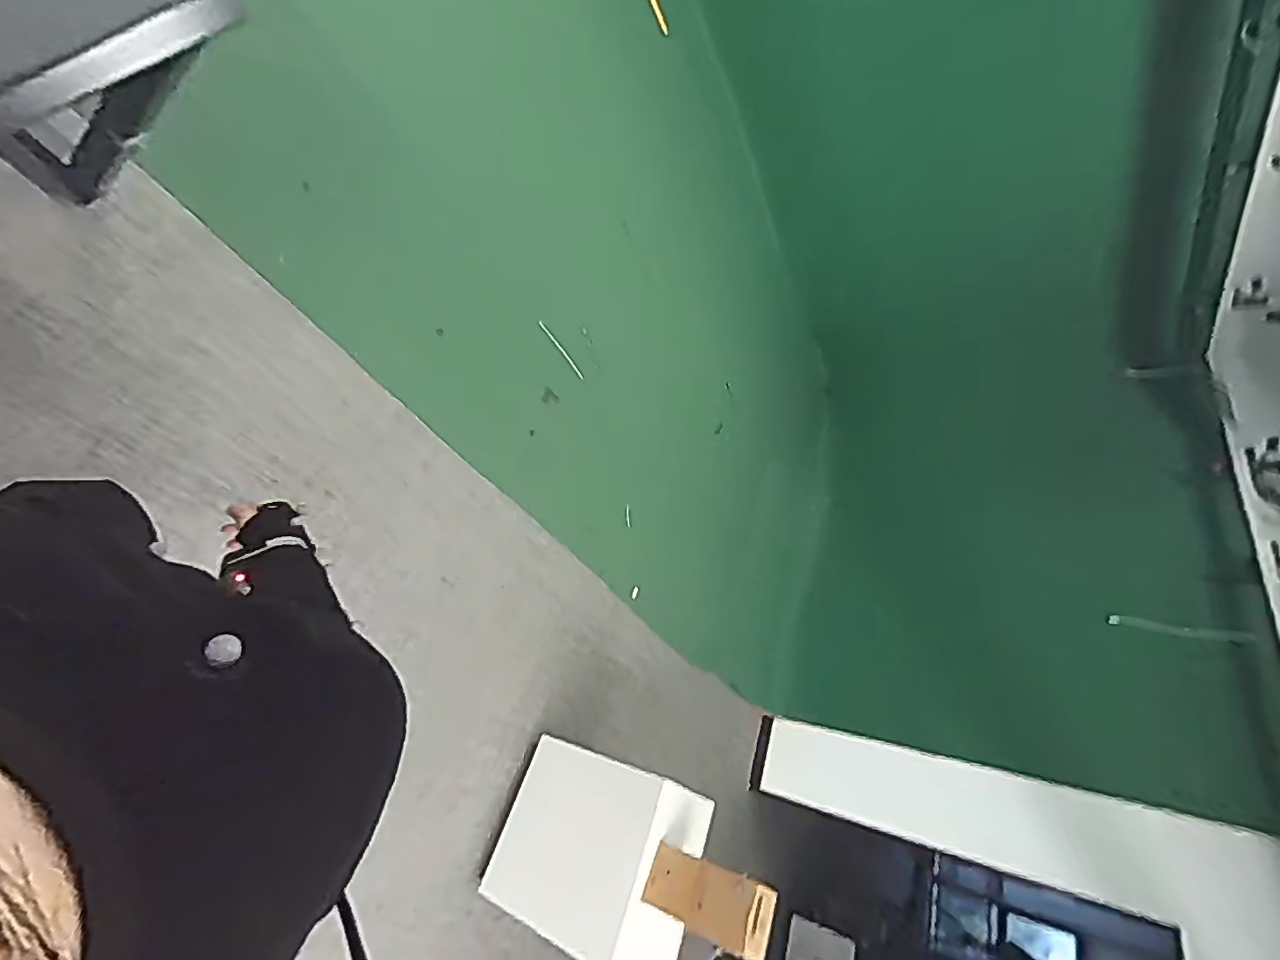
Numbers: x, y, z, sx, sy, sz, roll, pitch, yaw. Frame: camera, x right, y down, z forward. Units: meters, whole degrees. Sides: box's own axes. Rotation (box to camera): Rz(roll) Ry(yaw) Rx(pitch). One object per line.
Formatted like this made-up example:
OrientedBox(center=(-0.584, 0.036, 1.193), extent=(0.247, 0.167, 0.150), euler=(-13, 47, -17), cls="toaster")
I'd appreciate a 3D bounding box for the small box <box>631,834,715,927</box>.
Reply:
OrientedBox(center=(0.101, 1.215, 1.647), extent=(0.179, 0.176, 0.168), euler=(58, 46, -37), cls="small box")
